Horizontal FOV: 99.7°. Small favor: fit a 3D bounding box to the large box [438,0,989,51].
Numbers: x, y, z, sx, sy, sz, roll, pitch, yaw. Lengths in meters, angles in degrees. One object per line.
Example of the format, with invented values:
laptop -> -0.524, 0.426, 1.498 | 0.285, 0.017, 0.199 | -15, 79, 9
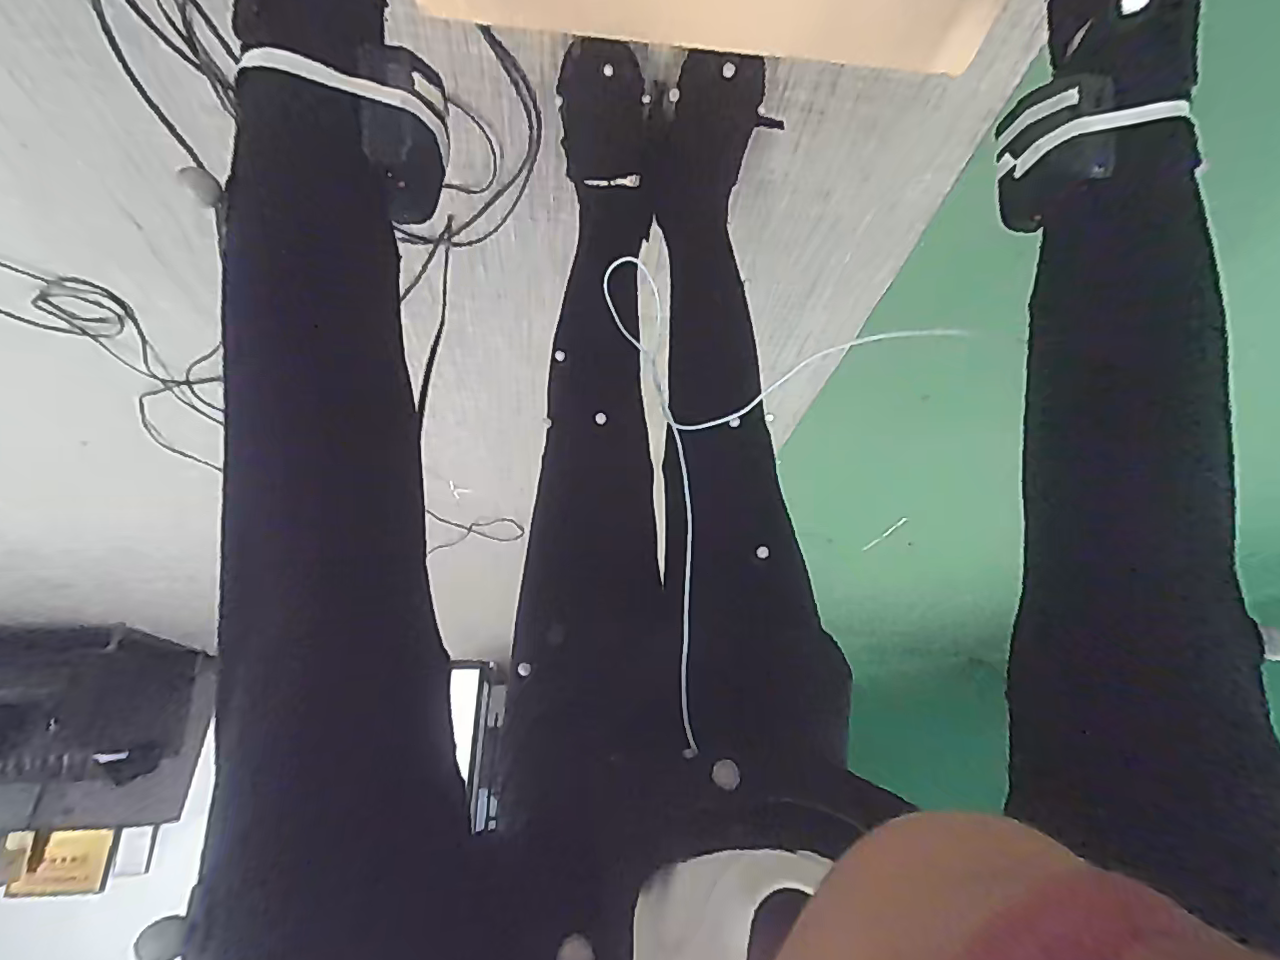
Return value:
large box -> 0.058, -0.538, 0.344 | 0.408, 0.320, 0.320 | 1, 151, -5
